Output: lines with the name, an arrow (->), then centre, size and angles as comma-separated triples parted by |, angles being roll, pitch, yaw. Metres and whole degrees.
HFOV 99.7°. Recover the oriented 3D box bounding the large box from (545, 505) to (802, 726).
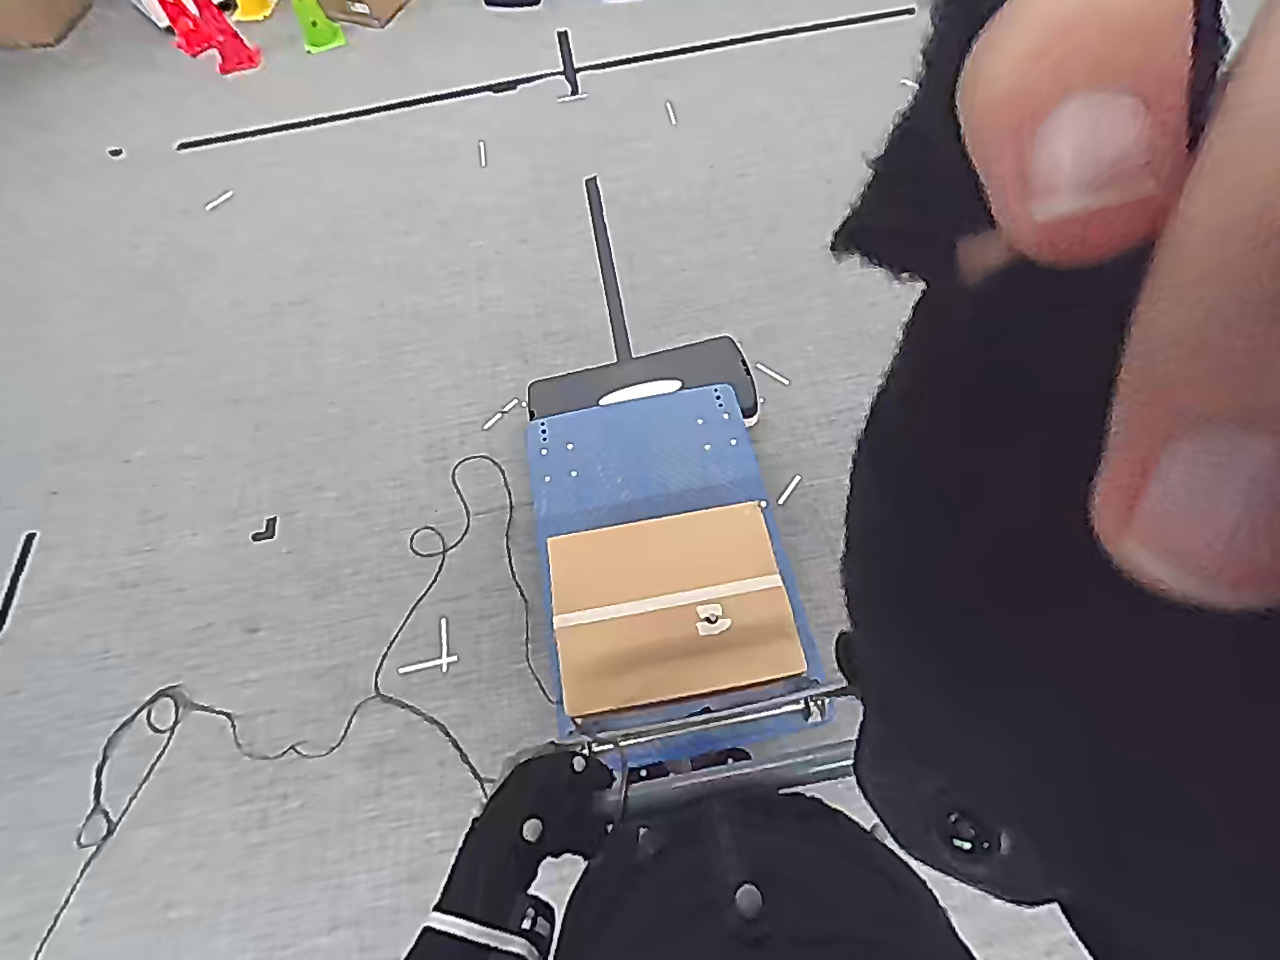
large box -> 0.052, 0.282, 1.073 | 0.408, 0.320, 0.320 | -10, 65, -2
